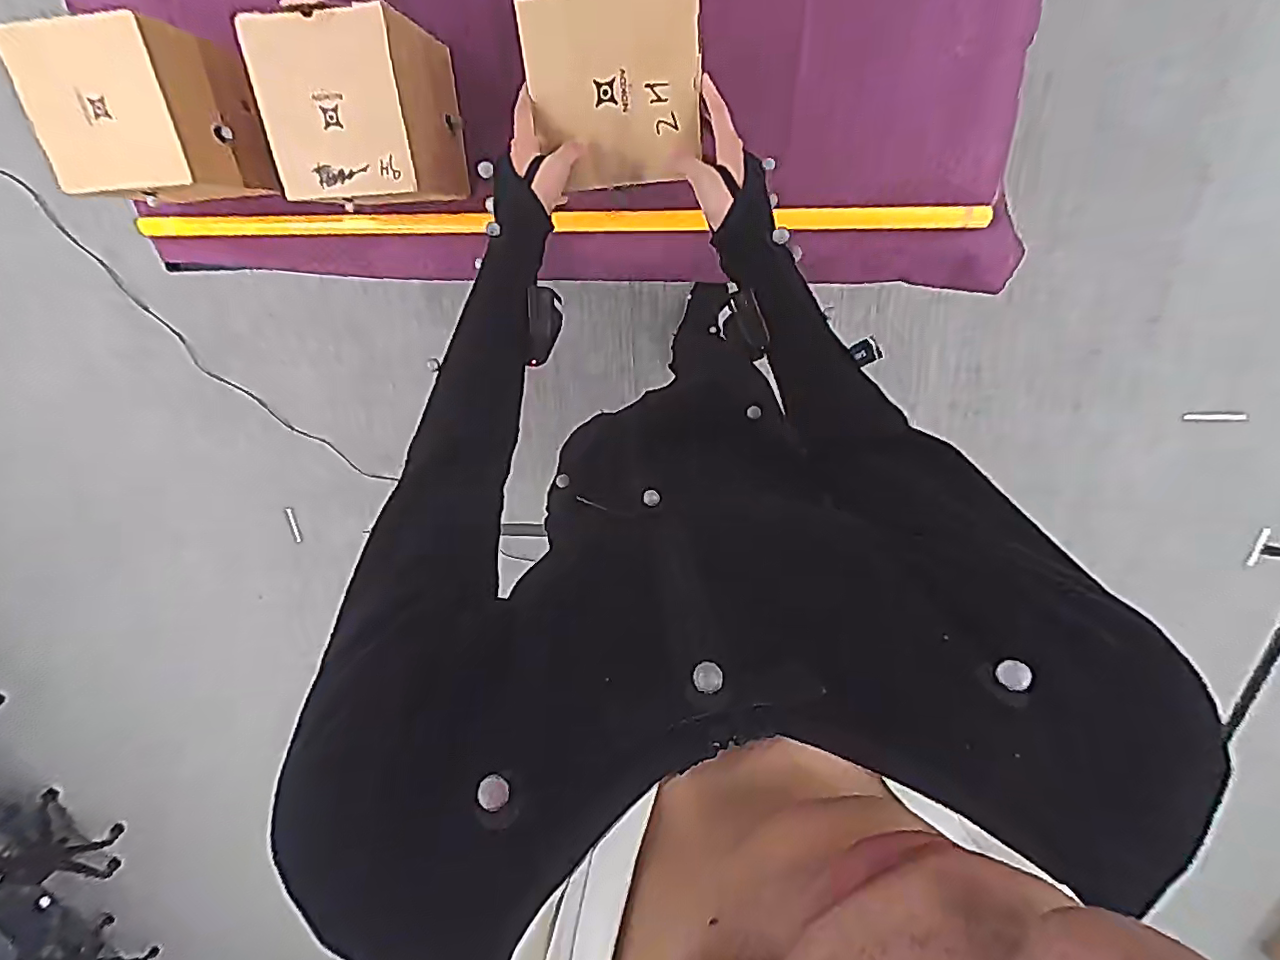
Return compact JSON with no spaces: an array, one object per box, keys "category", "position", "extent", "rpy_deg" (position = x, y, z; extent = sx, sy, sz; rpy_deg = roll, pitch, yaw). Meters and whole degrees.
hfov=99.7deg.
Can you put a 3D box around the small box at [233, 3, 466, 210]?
[{"category":"small box","position":[-0.332,-0.435,0.659],"extent":[0.168,0.176,0.179],"rpy_deg":[0,115,7]}]

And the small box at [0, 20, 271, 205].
[{"category":"small box","position":[-0.611,-0.446,0.683],"extent":[0.179,0.176,0.168],"rpy_deg":[0,114,6]}]

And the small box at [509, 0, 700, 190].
[{"category":"small box","position":[-0.024,-0.421,0.601],"extent":[0.179,0.176,0.168],"rpy_deg":[-2,120,7]}]
